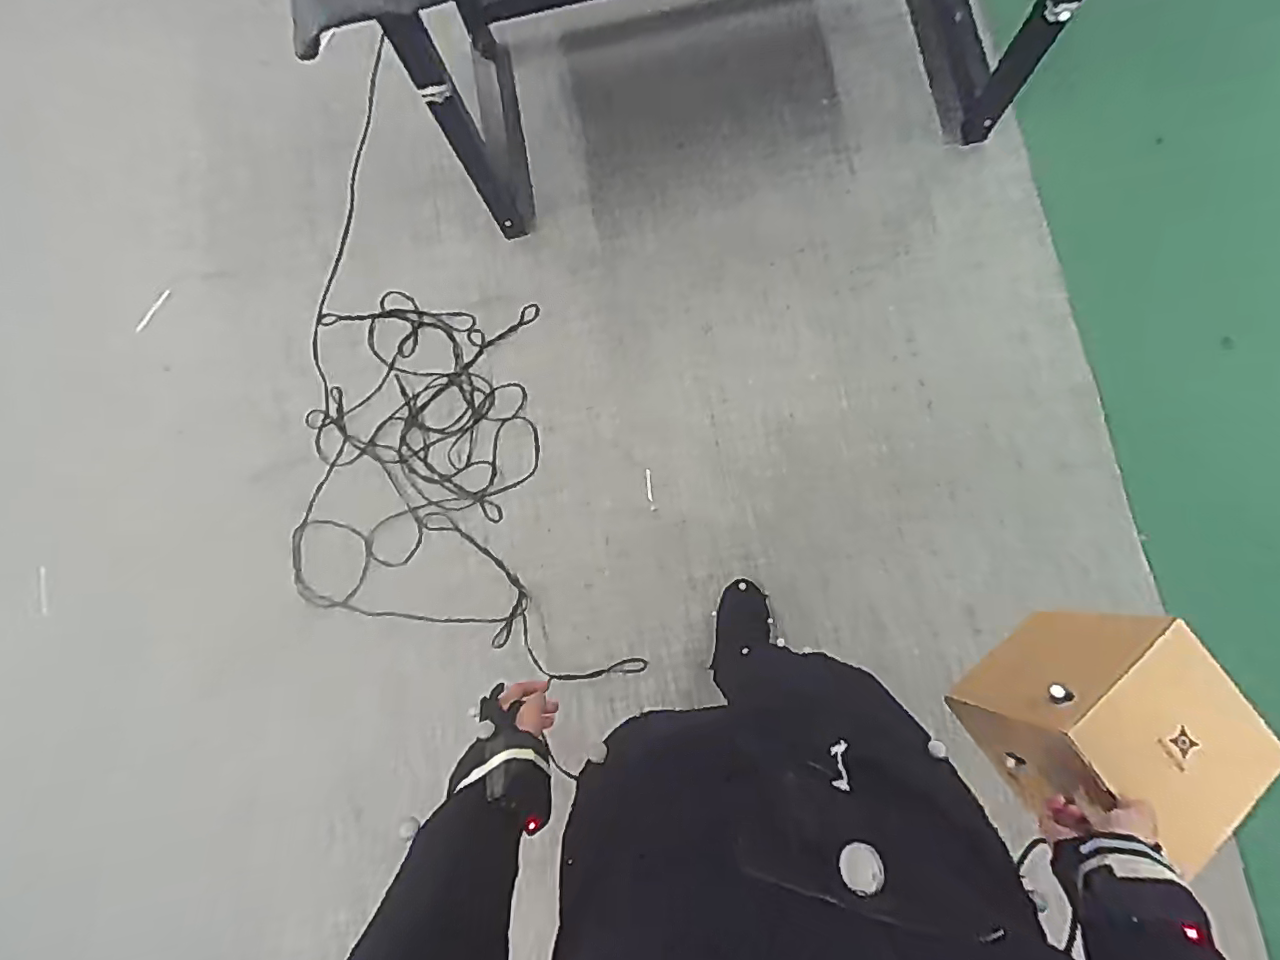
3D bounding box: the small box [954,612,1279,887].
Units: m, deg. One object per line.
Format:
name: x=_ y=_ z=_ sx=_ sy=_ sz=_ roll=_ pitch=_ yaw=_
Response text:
small box: x=0.485 y=0.257 z=0.572 sx=0.179 sy=0.176 sz=0.168 roll=-36 pitch=86 yaw=-12
